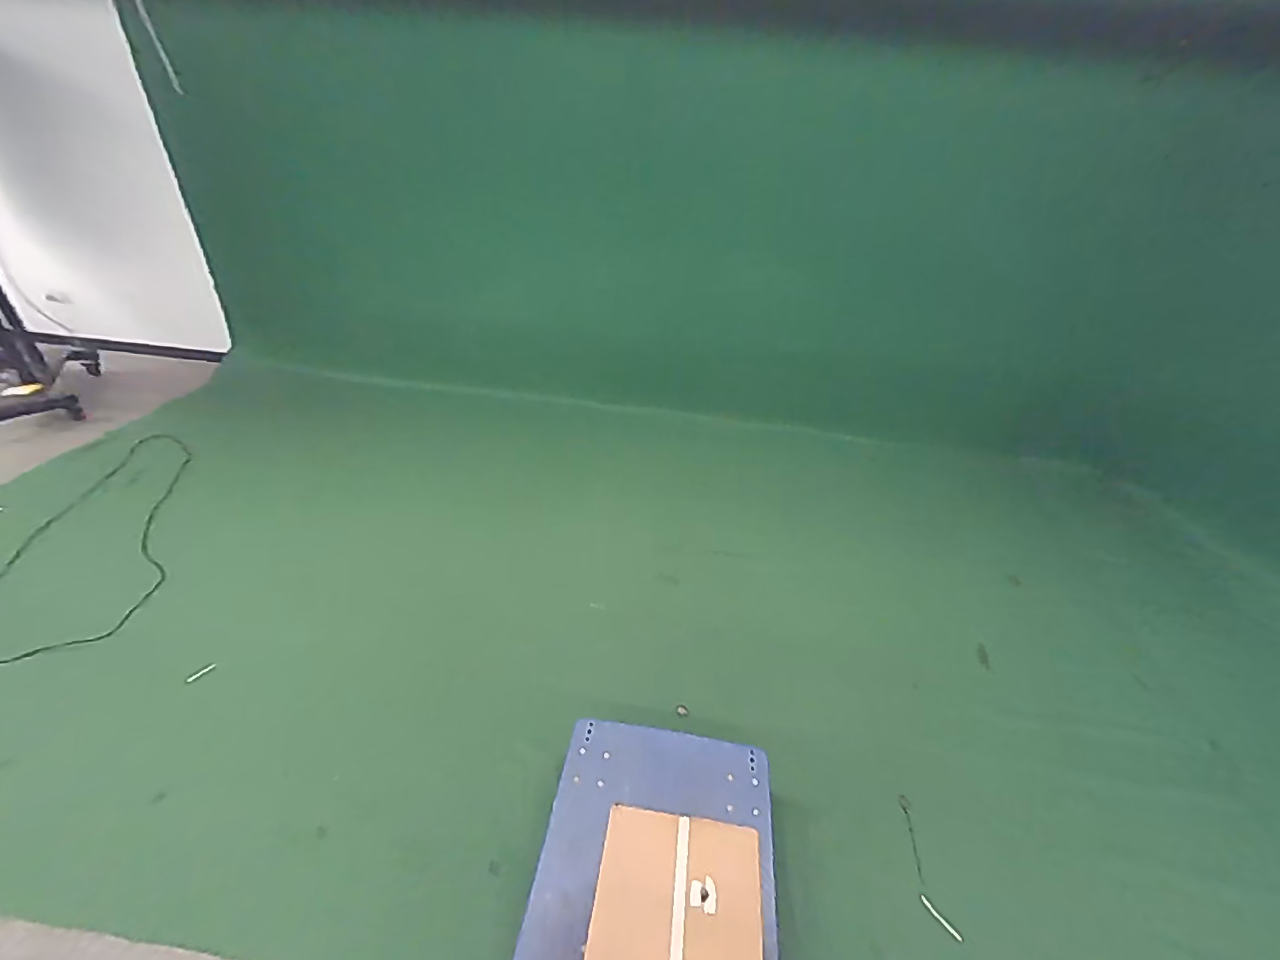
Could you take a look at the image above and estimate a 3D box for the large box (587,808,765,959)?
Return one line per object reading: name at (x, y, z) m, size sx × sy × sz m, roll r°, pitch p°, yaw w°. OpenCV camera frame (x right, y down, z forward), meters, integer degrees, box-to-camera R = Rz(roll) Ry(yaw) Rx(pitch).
large box at (0.059, 0.936, 1.035) m, size 0.320 × 0.320 × 0.408 m, roll 8°, pitch 32°, yaw 4°
